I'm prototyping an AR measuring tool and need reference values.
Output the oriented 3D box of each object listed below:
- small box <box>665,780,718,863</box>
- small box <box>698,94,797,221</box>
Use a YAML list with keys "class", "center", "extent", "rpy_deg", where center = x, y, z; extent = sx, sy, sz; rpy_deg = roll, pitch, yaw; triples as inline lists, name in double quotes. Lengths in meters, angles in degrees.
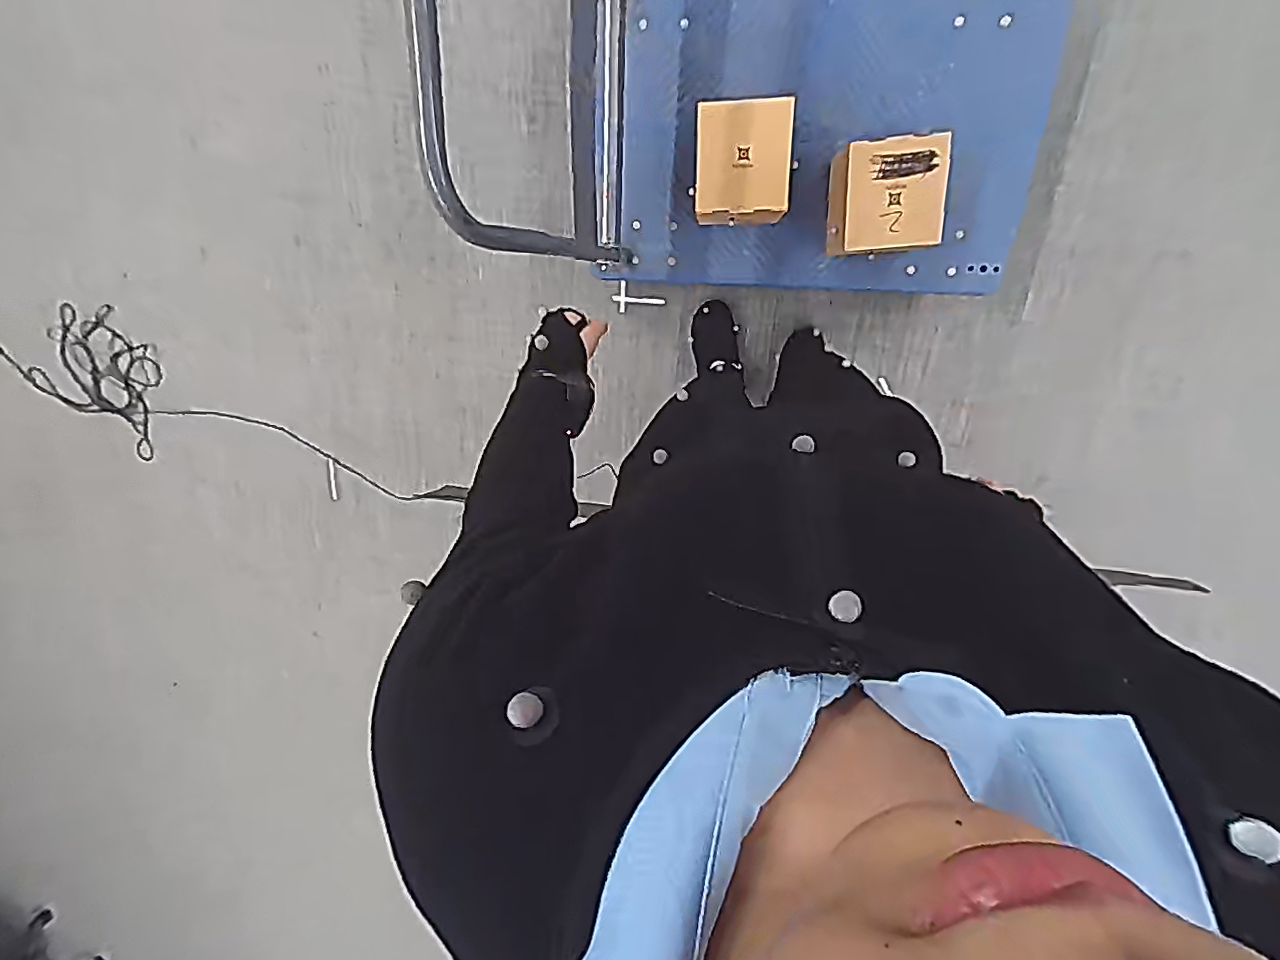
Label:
- class: "small box"
  center: [0.180, 1.162, 1.844]
  extent: [0.168, 0.176, 0.179]
  rpy_deg: [-5, 108, 8]
- class: "small box"
  center: [0.194, -0.597, 1.021]
  extent: [0.168, 0.176, 0.179]
  rpy_deg: [1, 110, 7]
